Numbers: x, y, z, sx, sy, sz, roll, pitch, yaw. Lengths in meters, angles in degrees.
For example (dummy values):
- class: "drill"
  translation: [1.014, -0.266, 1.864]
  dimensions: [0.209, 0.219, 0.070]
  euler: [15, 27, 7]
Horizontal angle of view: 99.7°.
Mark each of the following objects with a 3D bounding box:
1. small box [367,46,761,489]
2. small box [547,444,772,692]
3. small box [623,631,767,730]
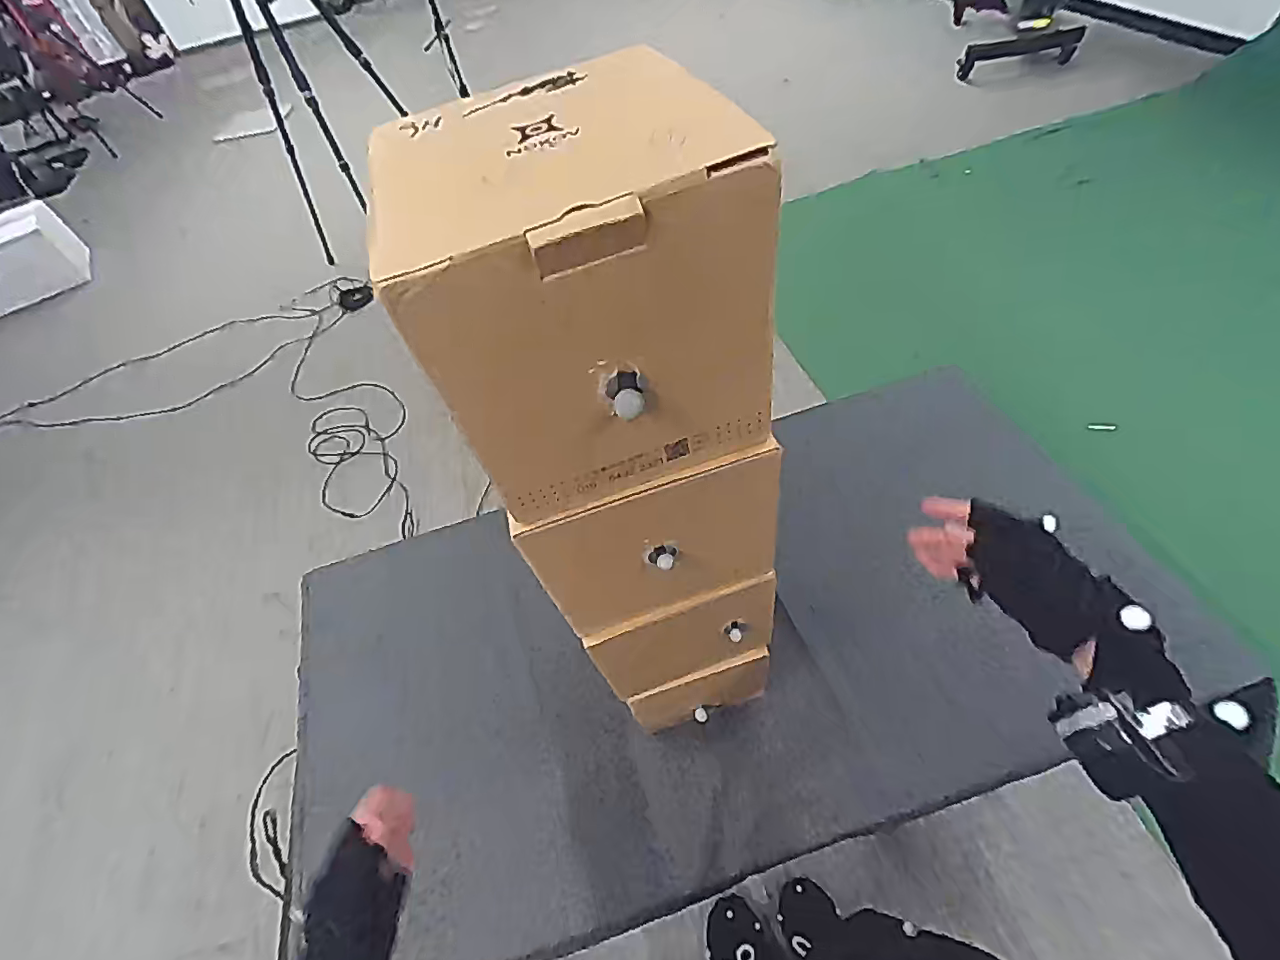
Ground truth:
- class: "small box"
  translation: [-0.037, -0.115, 0.323]
  dimensions: [0.168, 0.176, 0.179]
  euler: [-19, 52, -3]
- class: "small box"
  translation: [0.021, 0.096, 0.567]
  dimensions: [0.179, 0.176, 0.168]
  euler: [-20, 51, -4]
- class: "small box"
  translation: [0.050, 0.194, 0.694]
  dimensions: [0.168, 0.176, 0.179]
  euler: [-18, 53, -2]
